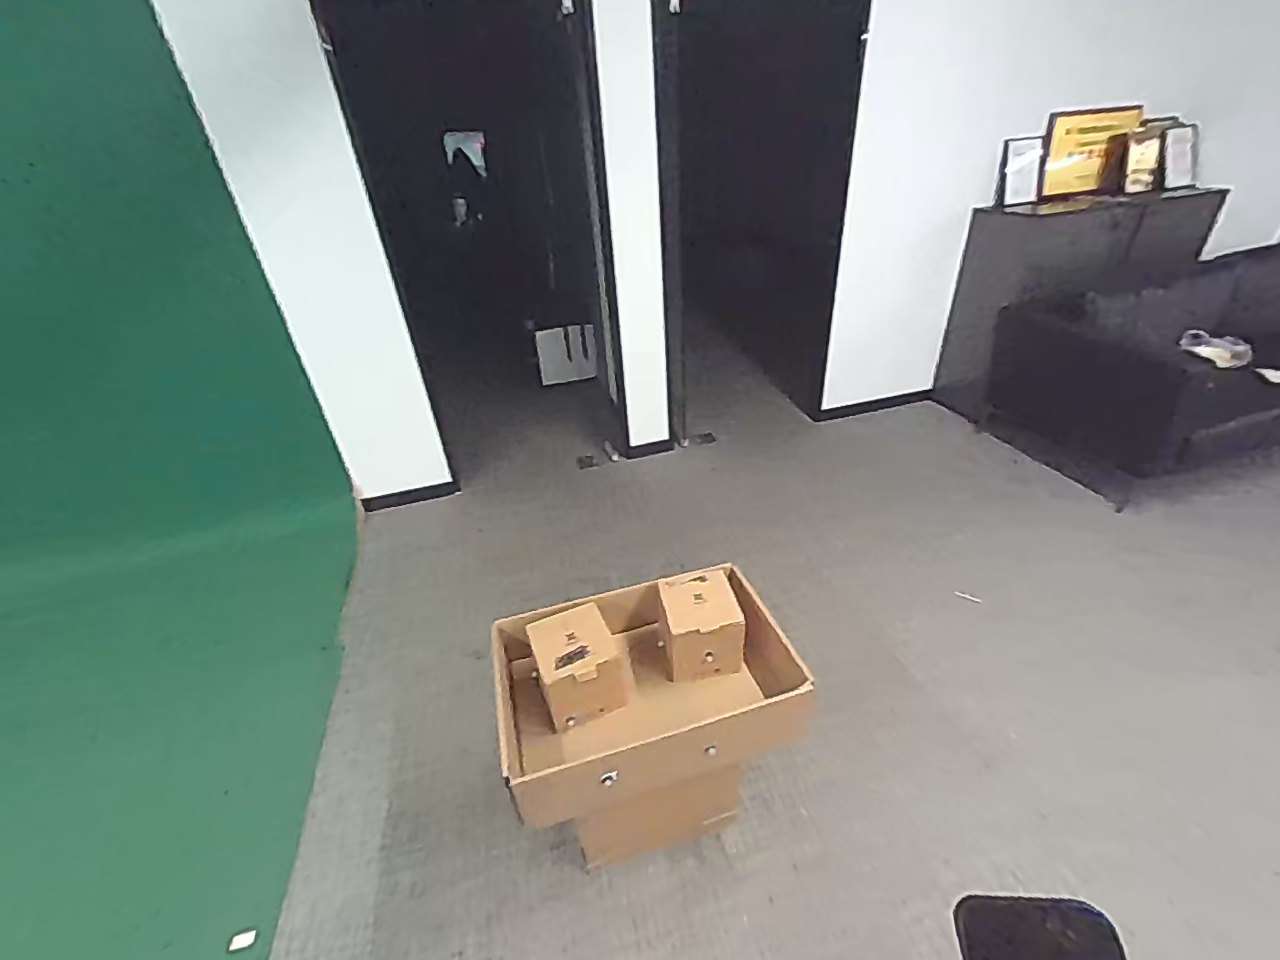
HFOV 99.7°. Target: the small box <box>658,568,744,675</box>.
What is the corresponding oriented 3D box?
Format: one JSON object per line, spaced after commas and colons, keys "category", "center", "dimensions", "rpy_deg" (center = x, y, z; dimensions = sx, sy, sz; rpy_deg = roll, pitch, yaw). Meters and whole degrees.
{"category": "small box", "center": [0.141, 0.339, 1.275], "dimensions": [0.168, 0.176, 0.179], "rpy_deg": [-8, 34, -6]}
